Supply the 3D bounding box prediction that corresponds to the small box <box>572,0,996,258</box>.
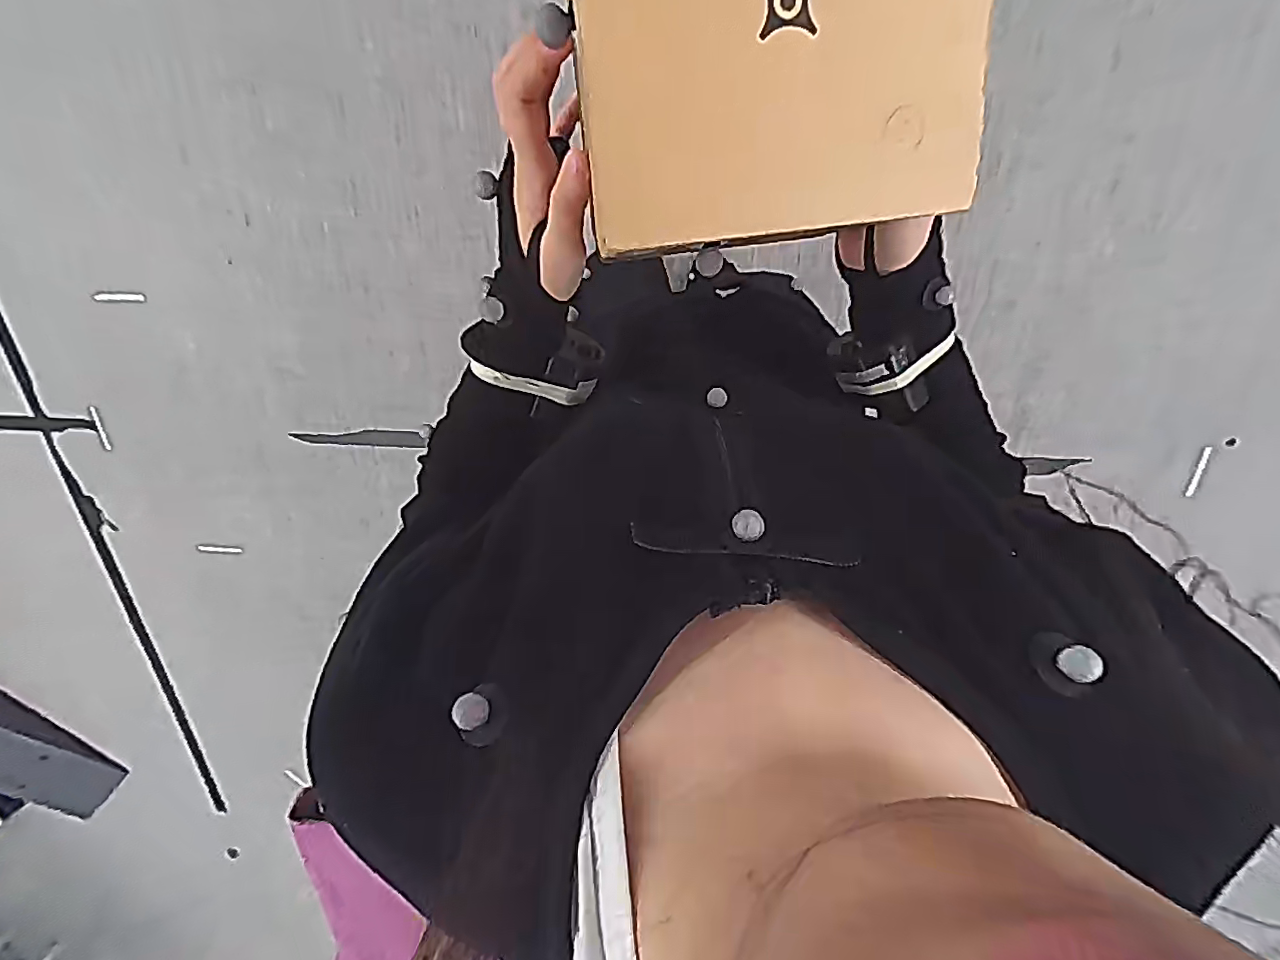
[{"bbox_3d":[0.052,-0.215,0.281,0.168,0.176,0.179,-7,110,-2],"label":"small box"}]
